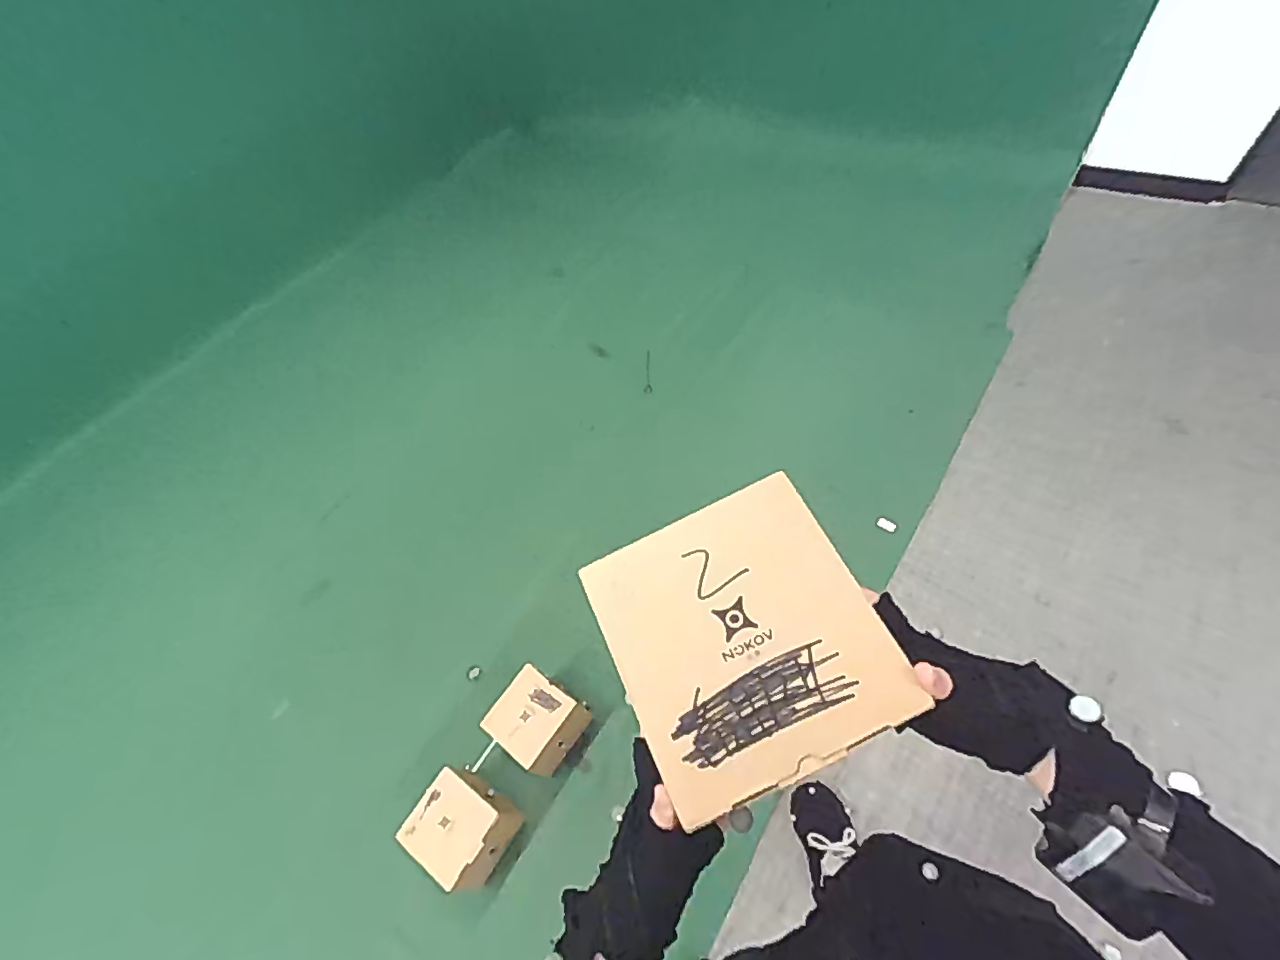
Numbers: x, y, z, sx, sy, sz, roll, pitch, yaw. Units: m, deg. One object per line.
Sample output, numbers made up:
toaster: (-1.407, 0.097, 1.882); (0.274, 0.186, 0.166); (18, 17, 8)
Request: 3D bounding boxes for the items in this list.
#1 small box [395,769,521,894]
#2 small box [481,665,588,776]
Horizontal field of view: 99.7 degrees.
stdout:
small box: (-0.399, 0.784, 1.221); (0.179, 0.176, 0.168); (26, 66, 24)
small box: (-0.246, 0.588, 1.318); (0.168, 0.176, 0.179); (29, 67, 27)
